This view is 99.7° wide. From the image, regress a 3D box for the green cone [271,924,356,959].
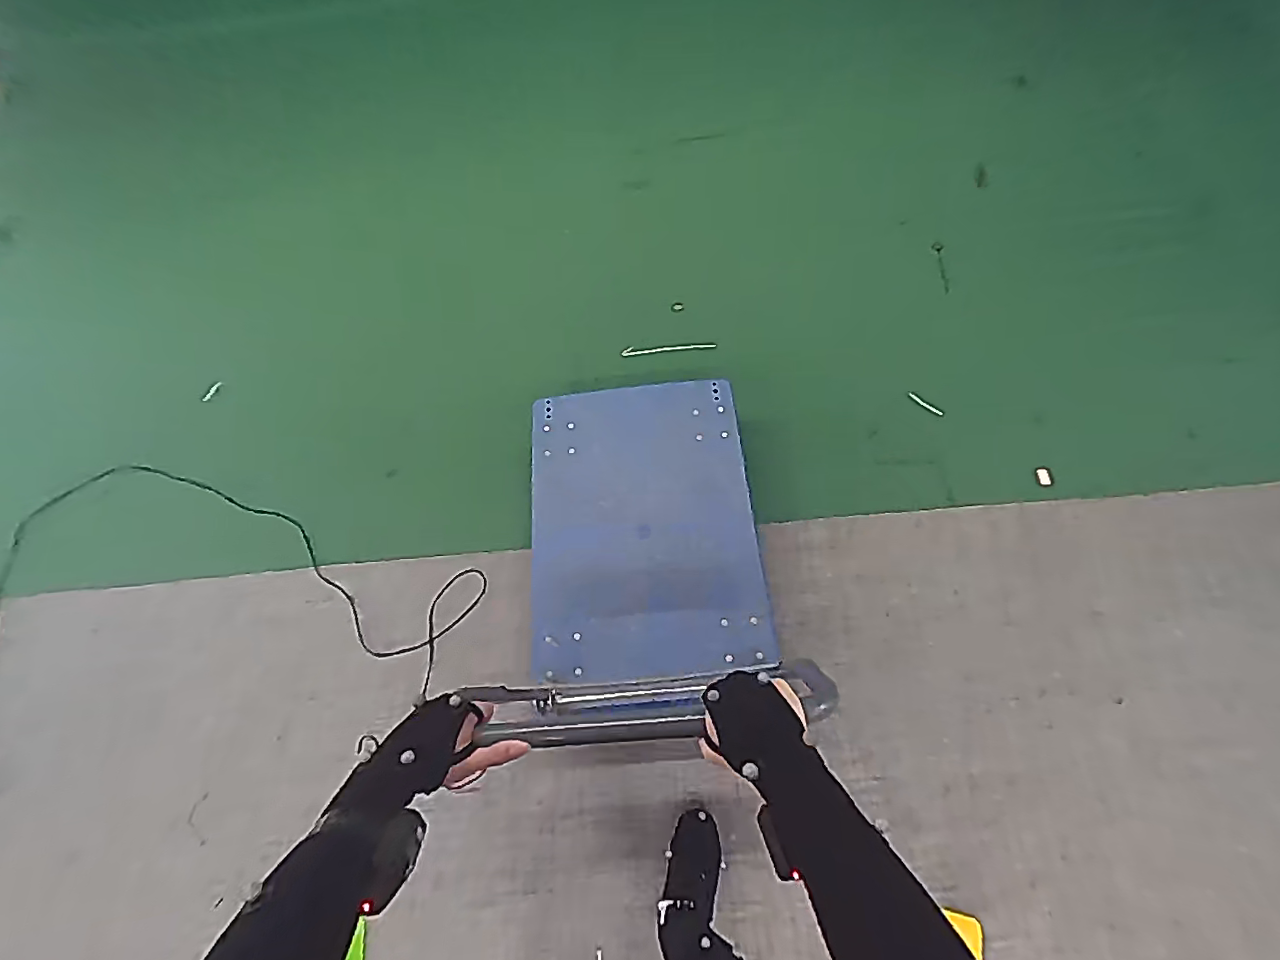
[{"bbox_3d":[-0.740,1.033,1.028,0.202,0.368,0.200,-10,65,2],"label":"green cone"}]
